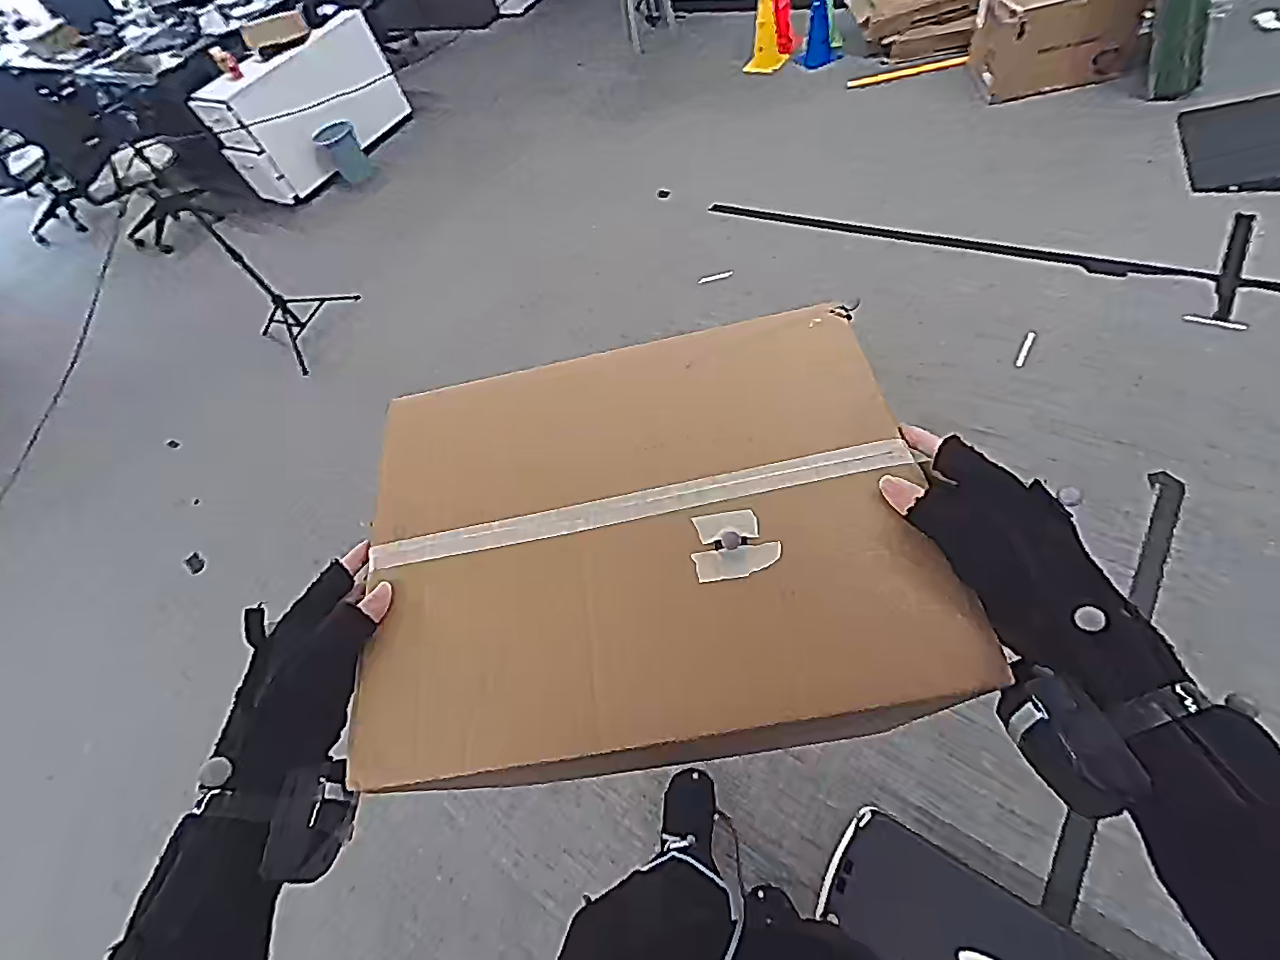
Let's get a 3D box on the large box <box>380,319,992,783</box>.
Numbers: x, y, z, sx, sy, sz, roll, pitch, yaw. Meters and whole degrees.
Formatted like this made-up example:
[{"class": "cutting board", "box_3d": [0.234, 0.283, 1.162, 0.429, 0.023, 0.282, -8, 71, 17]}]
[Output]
[{"class": "large box", "box_3d": [0.024, 0.098, 0.542, 0.408, 0.320, 0.320, -11, 60, 4]}]
